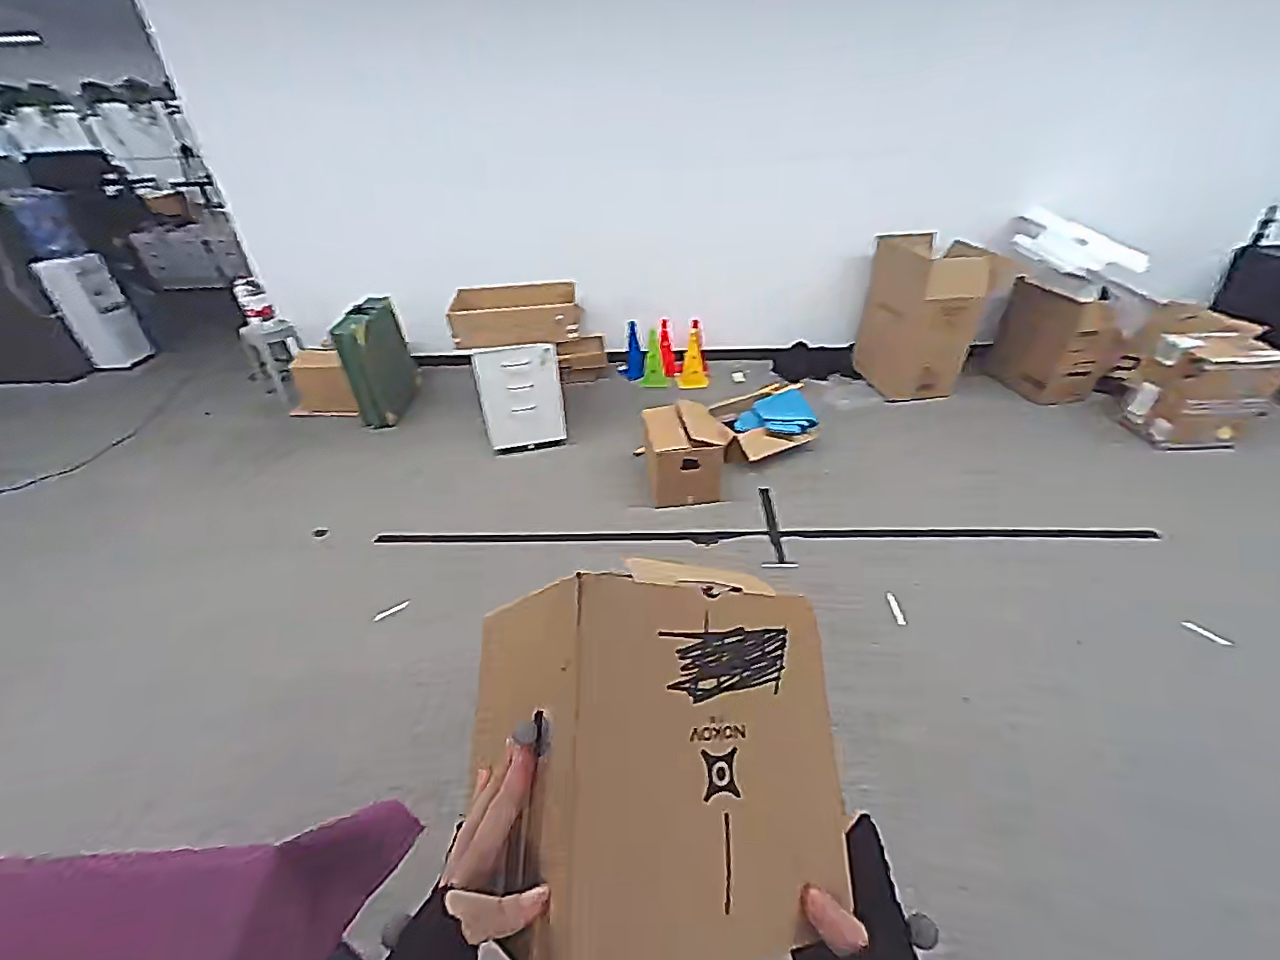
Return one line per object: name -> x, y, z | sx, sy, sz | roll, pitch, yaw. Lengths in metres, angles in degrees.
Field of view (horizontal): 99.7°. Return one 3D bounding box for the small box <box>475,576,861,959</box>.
small box -> 0.003, 0.172, 0.342 | 0.168, 0.176, 0.179 | 11, 64, -28
